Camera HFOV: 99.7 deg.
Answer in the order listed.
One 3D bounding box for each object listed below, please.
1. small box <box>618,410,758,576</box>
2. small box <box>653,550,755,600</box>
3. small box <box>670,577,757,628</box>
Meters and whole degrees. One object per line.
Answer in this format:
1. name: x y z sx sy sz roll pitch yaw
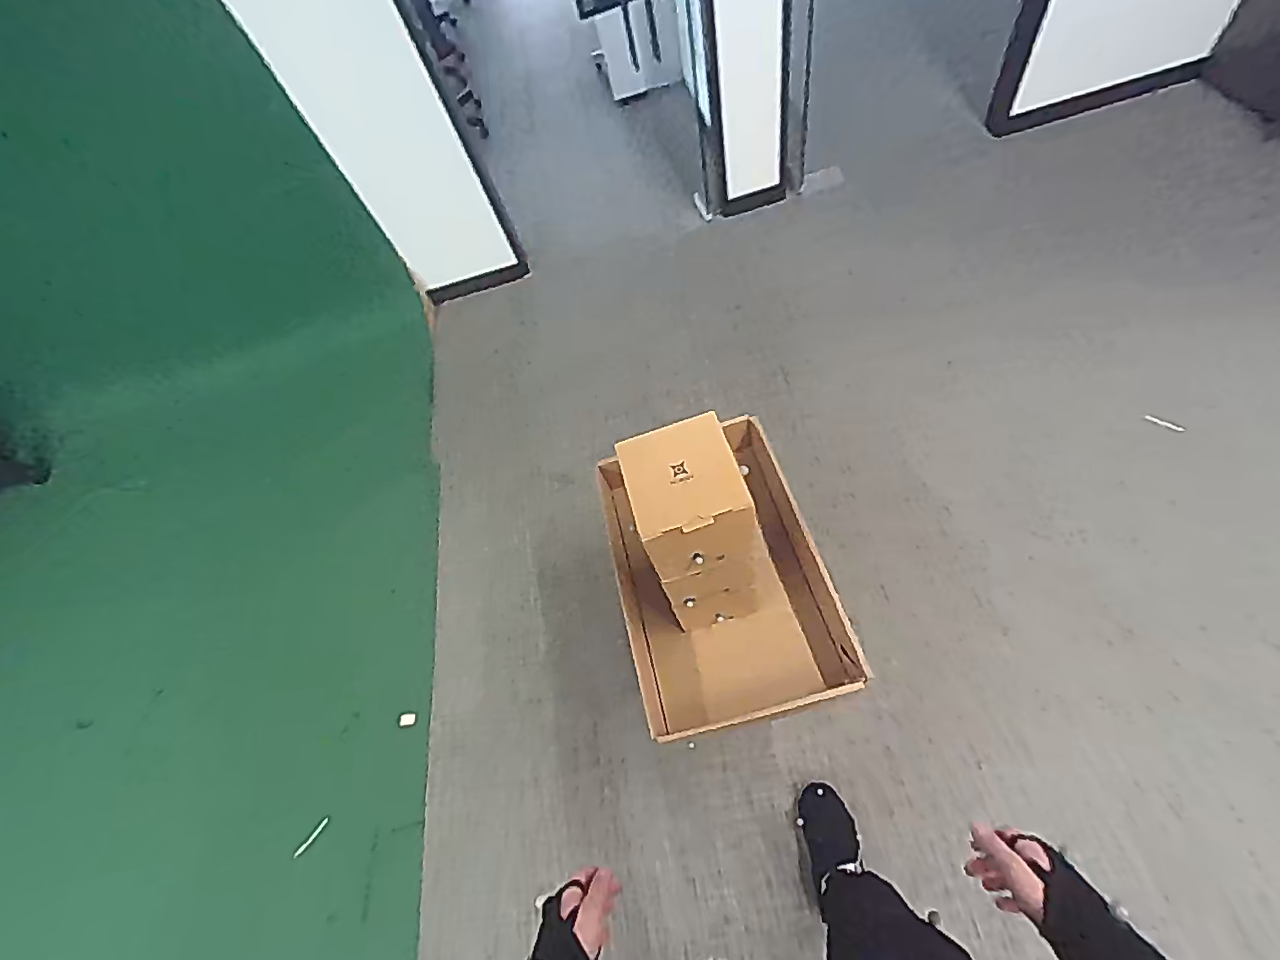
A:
1. small box: 0.076 0.025 0.848 0.168 0.176 0.179 -18 58 2
2. small box: 0.105 0.104 0.987 0.168 0.176 0.179 -18 56 2
3. small box: 0.139 0.186 1.125 0.168 0.176 0.179 -17 58 4
